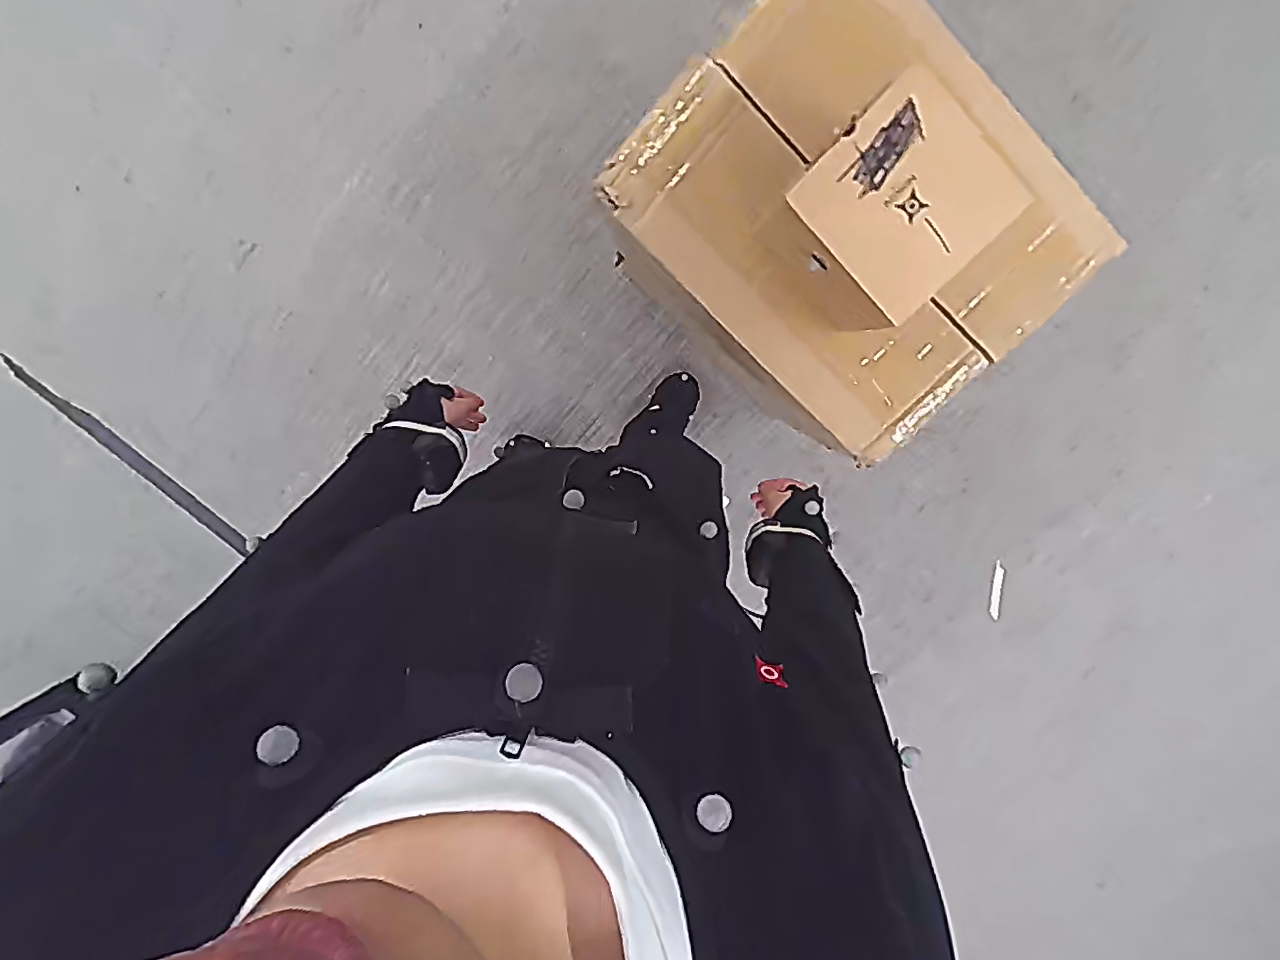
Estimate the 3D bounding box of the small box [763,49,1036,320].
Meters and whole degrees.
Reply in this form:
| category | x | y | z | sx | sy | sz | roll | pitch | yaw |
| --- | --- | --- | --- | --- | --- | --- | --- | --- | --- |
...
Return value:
| category | x | y | z | sx | sy | sz | roll | pitch | yaw |
| --- | --- | --- | --- | --- | --- | --- | --- | --- | --- |
| small box | 0.257 | -0.291 | 0.586 | 0.179 | 0.176 | 0.168 | 44 | 101 | -8 |
